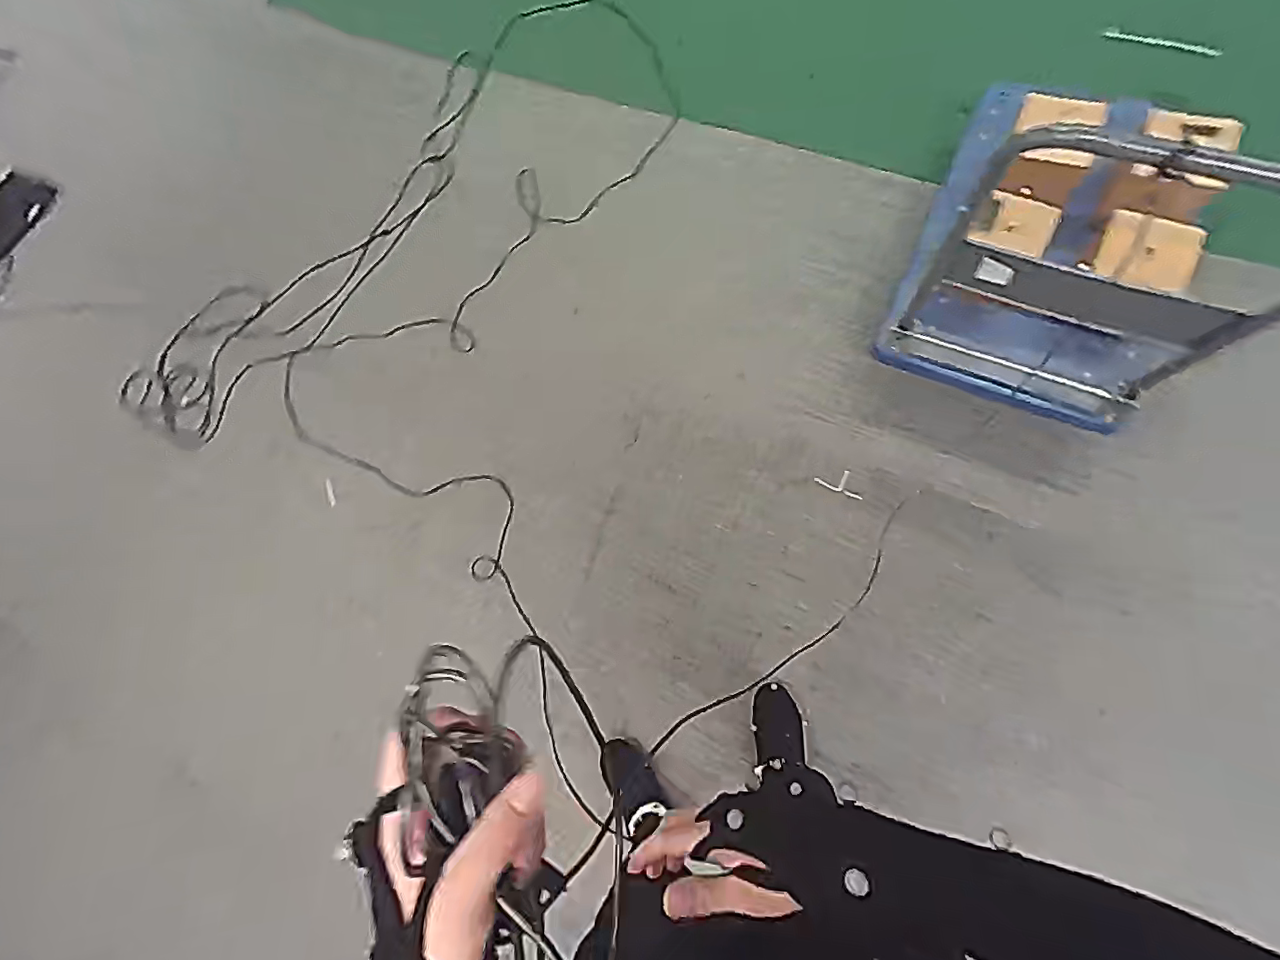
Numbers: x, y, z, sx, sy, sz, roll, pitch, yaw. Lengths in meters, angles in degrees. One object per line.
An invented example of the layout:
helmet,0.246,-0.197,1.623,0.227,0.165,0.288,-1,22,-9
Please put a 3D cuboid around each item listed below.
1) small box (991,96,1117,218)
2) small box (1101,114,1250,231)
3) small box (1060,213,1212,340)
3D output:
small box,0.984,-0.772,1.304,0.168,0.176,0.179,22,81,14
small box,1.211,-0.685,1.238,0.168,0.176,0.179,21,82,16
small box,1.088,-0.447,1.205,0.168,0.176,0.179,26,84,16
